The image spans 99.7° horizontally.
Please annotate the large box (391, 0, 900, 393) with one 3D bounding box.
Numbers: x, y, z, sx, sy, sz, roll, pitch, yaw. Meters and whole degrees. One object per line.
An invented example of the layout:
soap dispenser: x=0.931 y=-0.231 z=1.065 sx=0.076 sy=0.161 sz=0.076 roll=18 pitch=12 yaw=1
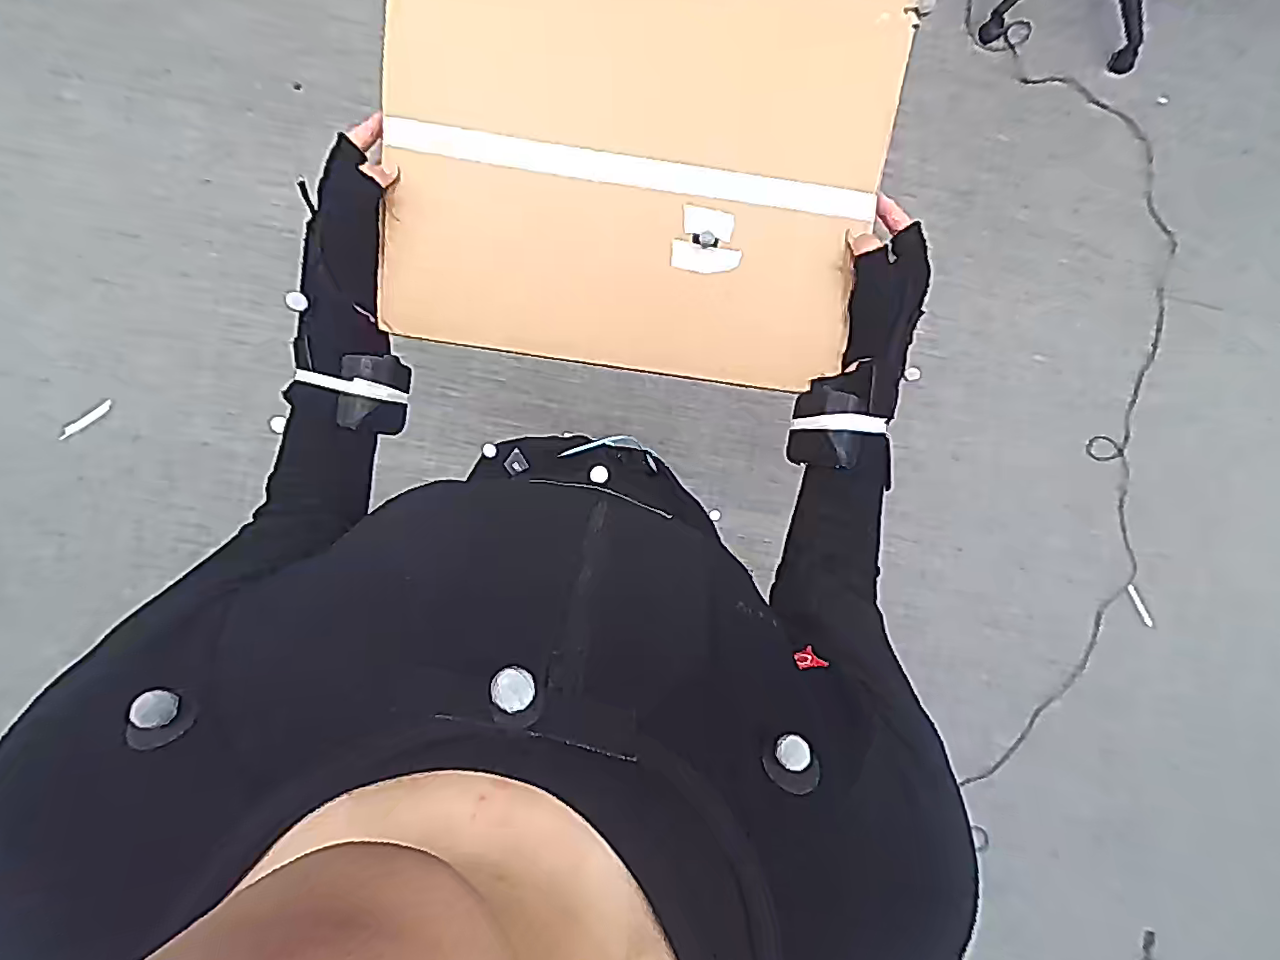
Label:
large box: x=-0.011 y=-0.282 z=0.600 sx=0.408 sy=0.320 sz=0.320 roll=8 pitch=103 yaw=-4
